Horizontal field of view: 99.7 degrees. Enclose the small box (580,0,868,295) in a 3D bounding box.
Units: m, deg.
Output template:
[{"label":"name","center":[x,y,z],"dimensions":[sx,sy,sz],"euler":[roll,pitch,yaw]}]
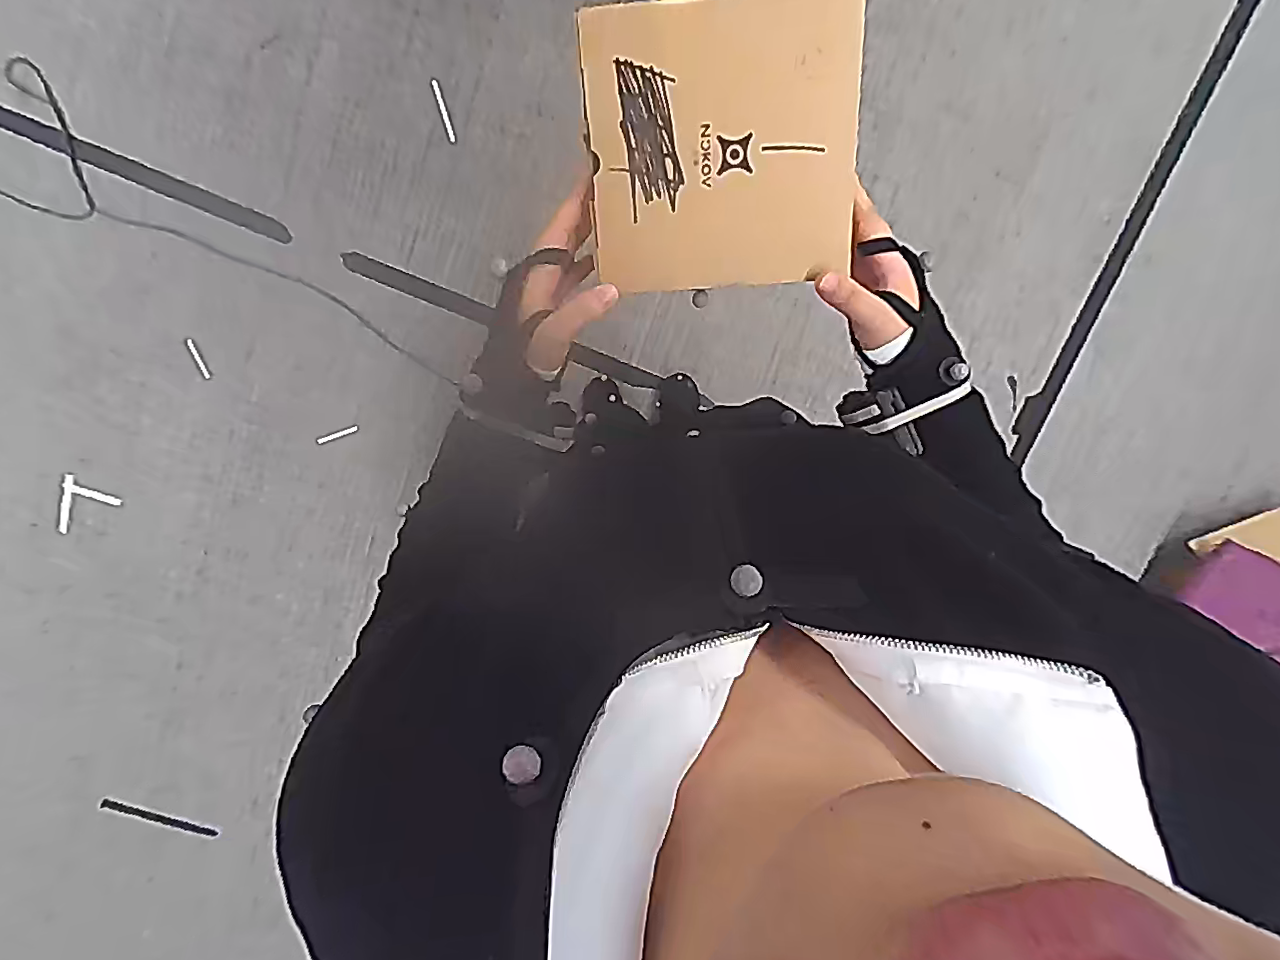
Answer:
[{"label":"small box","center":[0.056,-0.236,0.426],"dimensions":[0.179,0.176,0.168],"euler":[-4,110,1]}]
